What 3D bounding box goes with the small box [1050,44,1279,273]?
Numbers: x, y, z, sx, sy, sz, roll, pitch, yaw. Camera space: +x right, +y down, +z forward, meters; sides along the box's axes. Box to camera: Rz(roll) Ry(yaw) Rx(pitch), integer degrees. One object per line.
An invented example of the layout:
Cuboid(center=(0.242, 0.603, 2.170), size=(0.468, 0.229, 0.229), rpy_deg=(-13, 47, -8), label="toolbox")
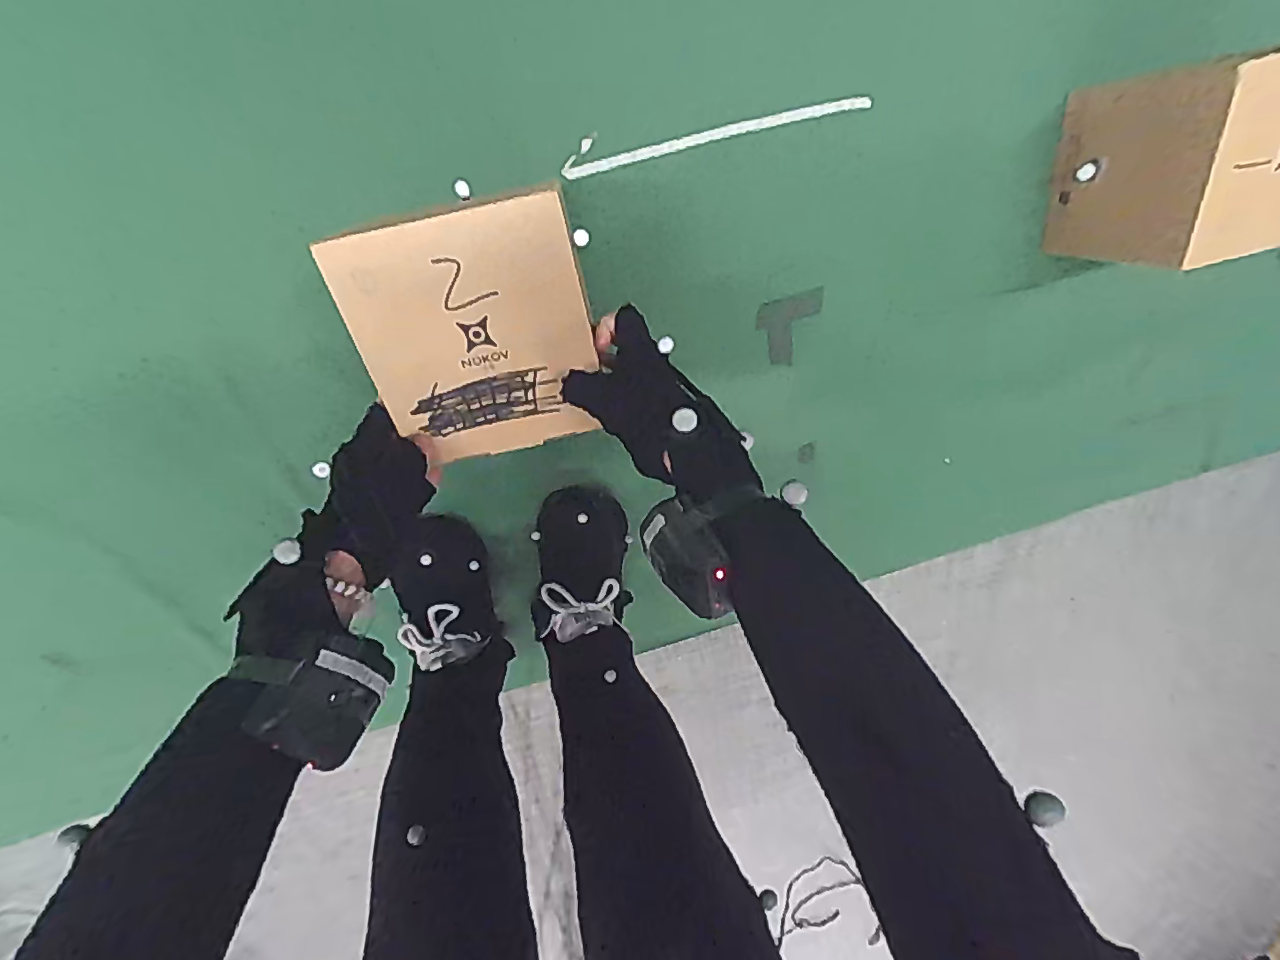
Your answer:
Cuboid(center=(0.566, -0.320, 0.534), size=(0.179, 0.176, 0.168), rpy_deg=(-15, 121, -3), label="small box")
